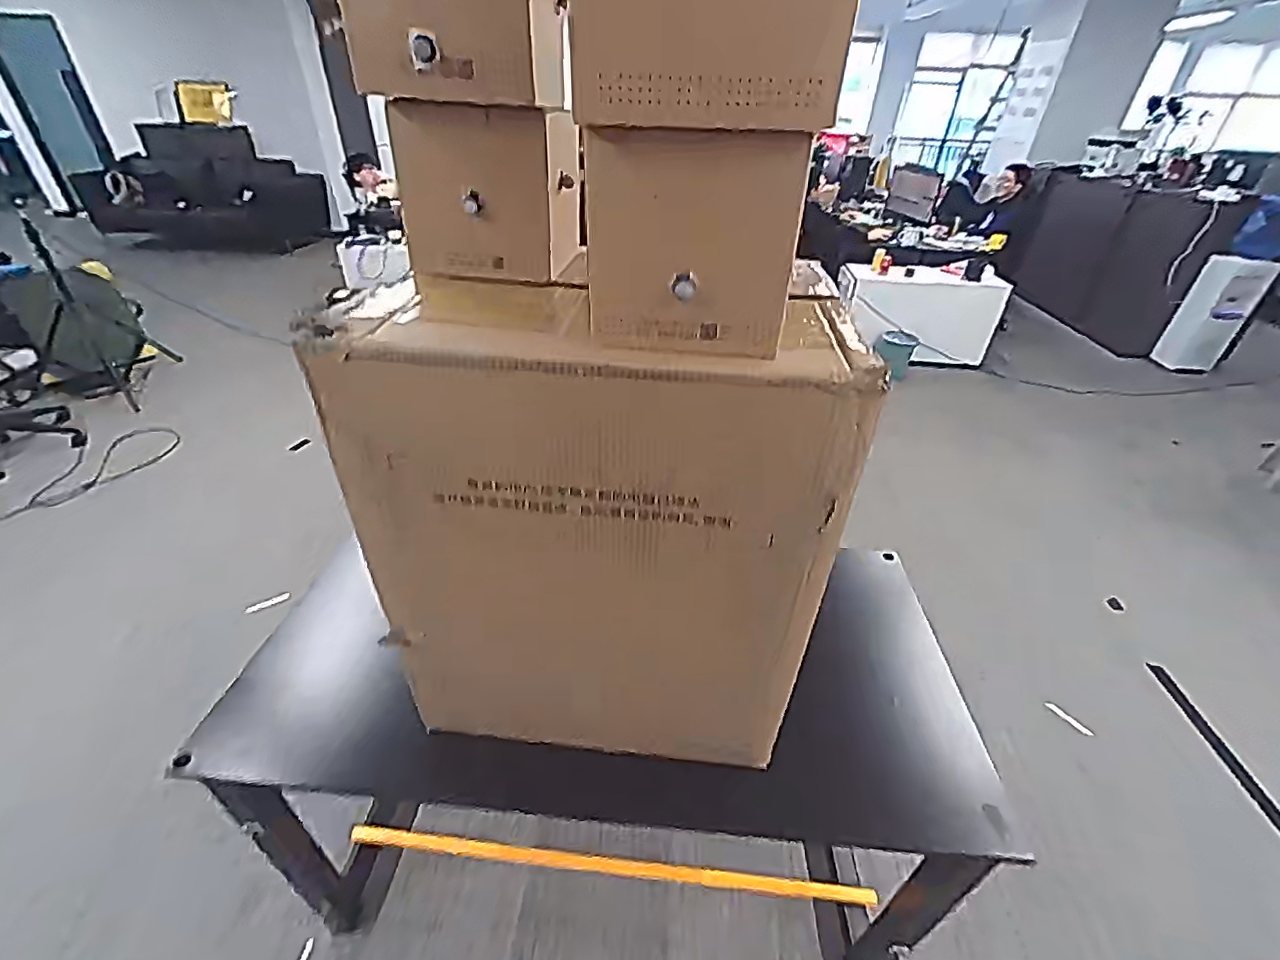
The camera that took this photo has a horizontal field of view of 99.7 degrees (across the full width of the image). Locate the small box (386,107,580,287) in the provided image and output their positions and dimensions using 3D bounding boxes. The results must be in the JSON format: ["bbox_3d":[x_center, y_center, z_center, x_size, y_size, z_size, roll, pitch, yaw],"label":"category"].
[{"bbox_3d":[-0.165,-0.337,0.638,0.168,0.176,0.179,5,35,2],"label":"small box"}]

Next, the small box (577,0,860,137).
[{"bbox_3d":[0.051,-0.340,0.375,0.179,0.176,0.168,3,36,1],"label":"small box"}]

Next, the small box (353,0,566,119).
[{"bbox_3d":[-0.164,-0.453,0.518,0.168,0.176,0.179,3,35,1],"label":"small box"}]

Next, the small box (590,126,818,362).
[{"bbox_3d":[0.052,-0.223,0.494,0.168,0.176,0.179,5,35,5],"label":"small box"}]
